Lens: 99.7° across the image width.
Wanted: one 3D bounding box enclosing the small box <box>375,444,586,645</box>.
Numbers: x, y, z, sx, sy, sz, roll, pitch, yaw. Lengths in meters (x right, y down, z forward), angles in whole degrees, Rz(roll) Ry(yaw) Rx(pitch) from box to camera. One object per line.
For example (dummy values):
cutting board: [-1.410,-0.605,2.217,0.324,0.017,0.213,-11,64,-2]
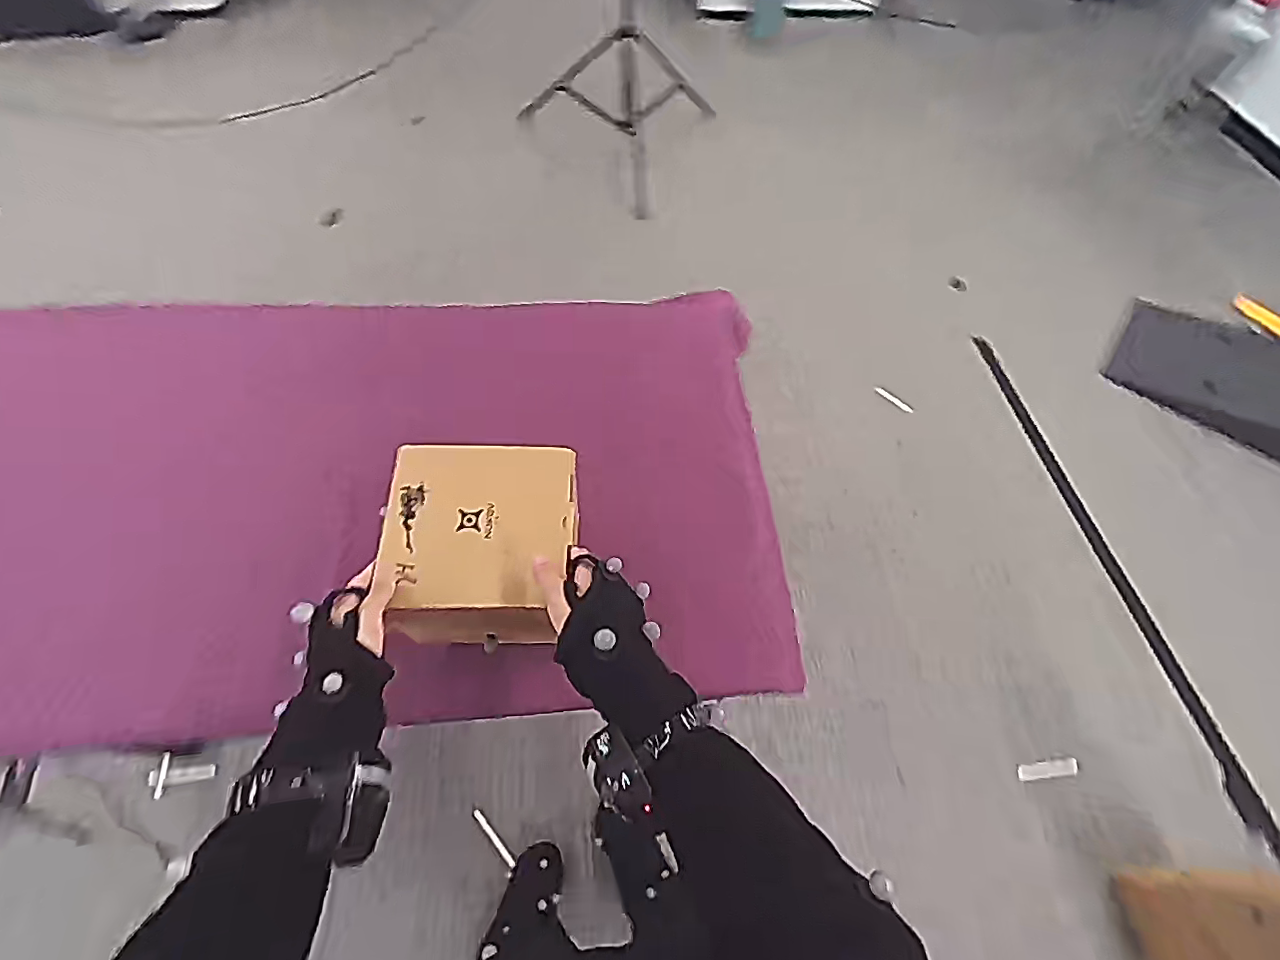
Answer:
small box: [-0.150,0.077,0.575,0.179,0.176,0.168,2,64,-6]
